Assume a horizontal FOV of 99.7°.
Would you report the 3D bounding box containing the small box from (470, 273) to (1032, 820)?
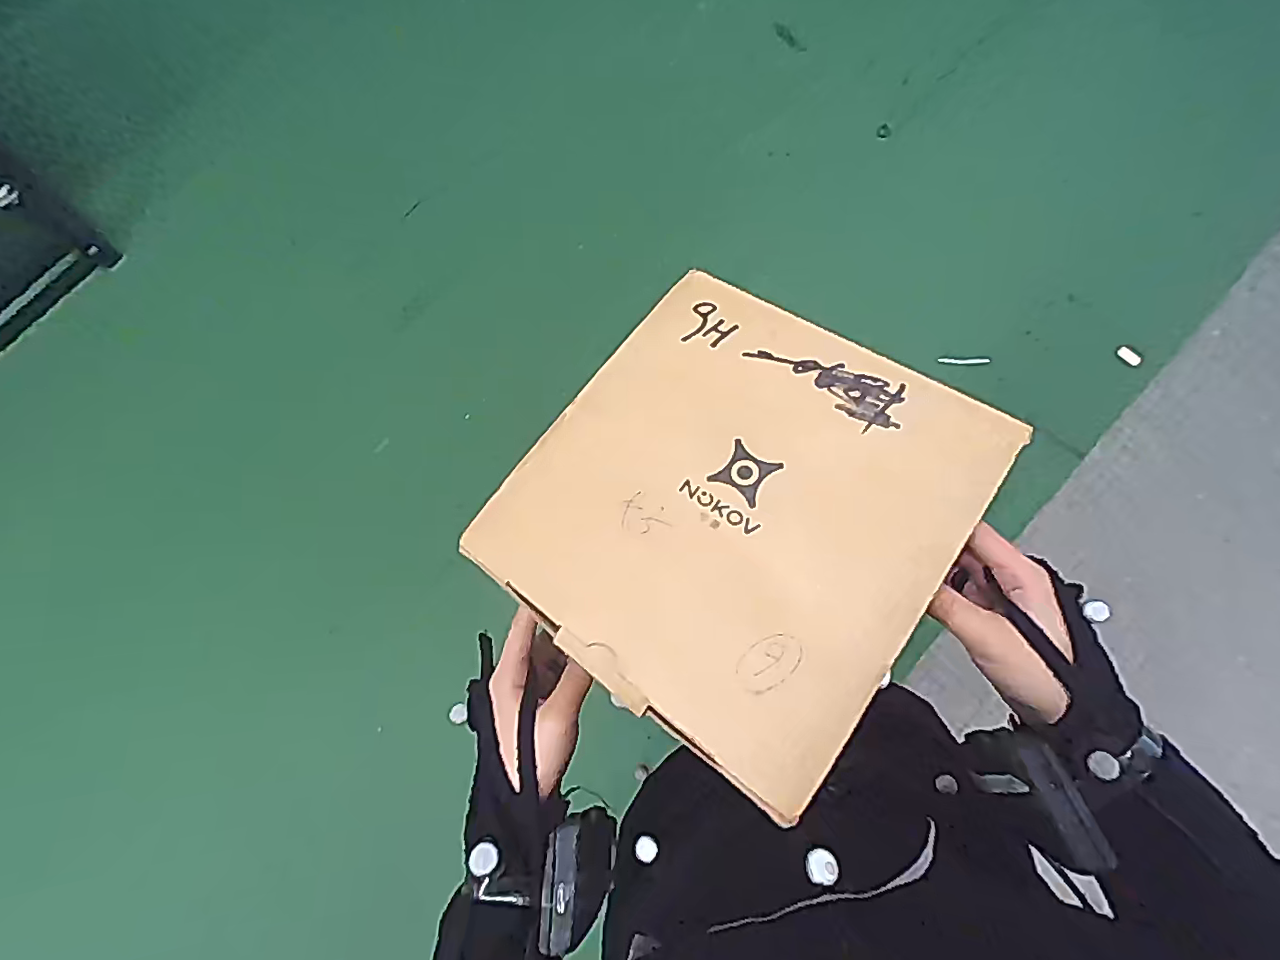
[{"bbox_3d":[0.053,0.035,0.293,0.168,0.176,0.179,35,78,21],"label":"small box"}]
